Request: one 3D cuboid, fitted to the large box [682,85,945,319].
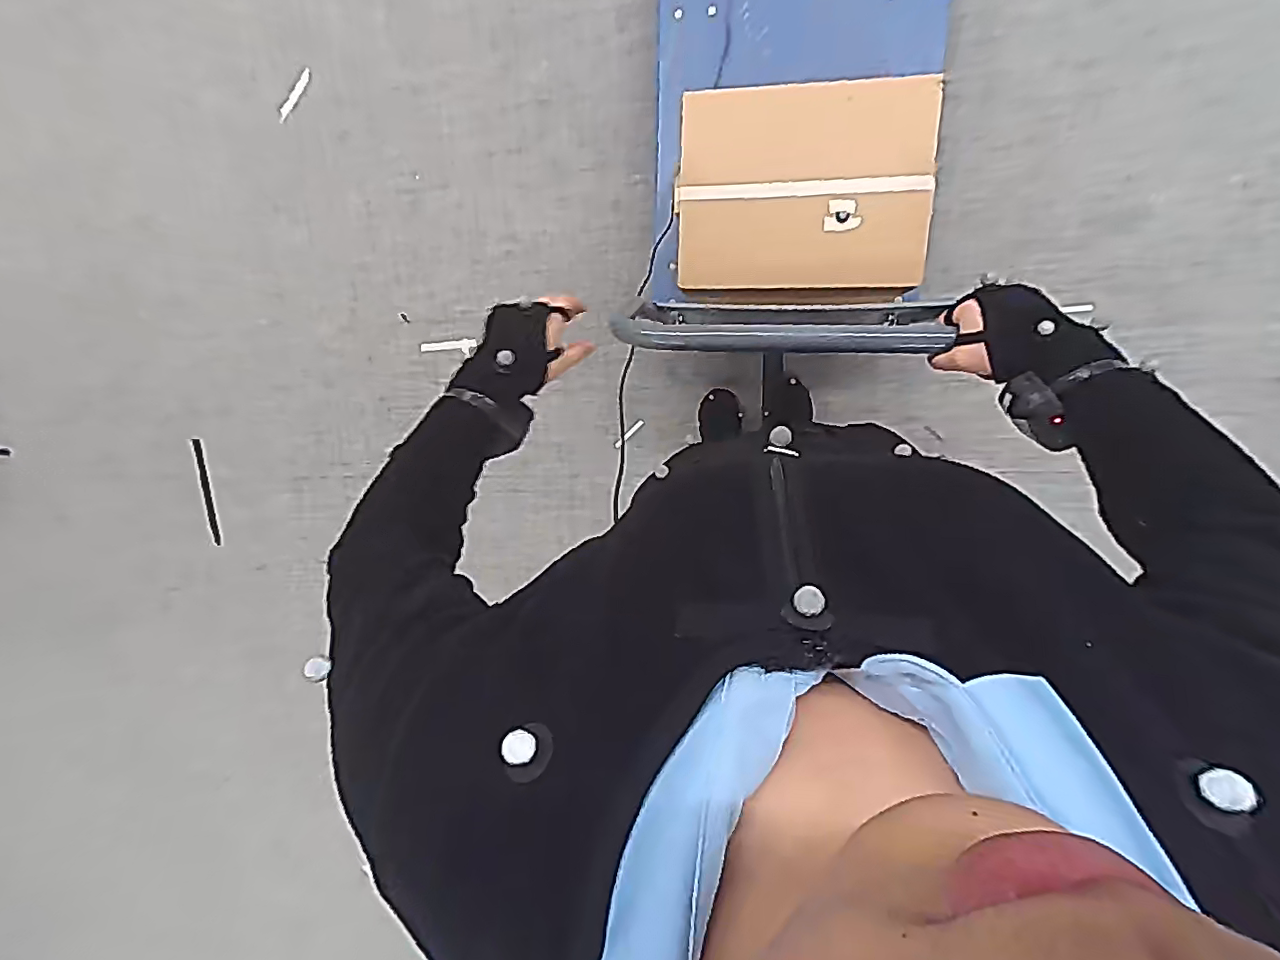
[{"bbox_3d":[0.291,-0.484,1.025,0.408,0.320,0.320,3,102,9],"label":"large box"}]
